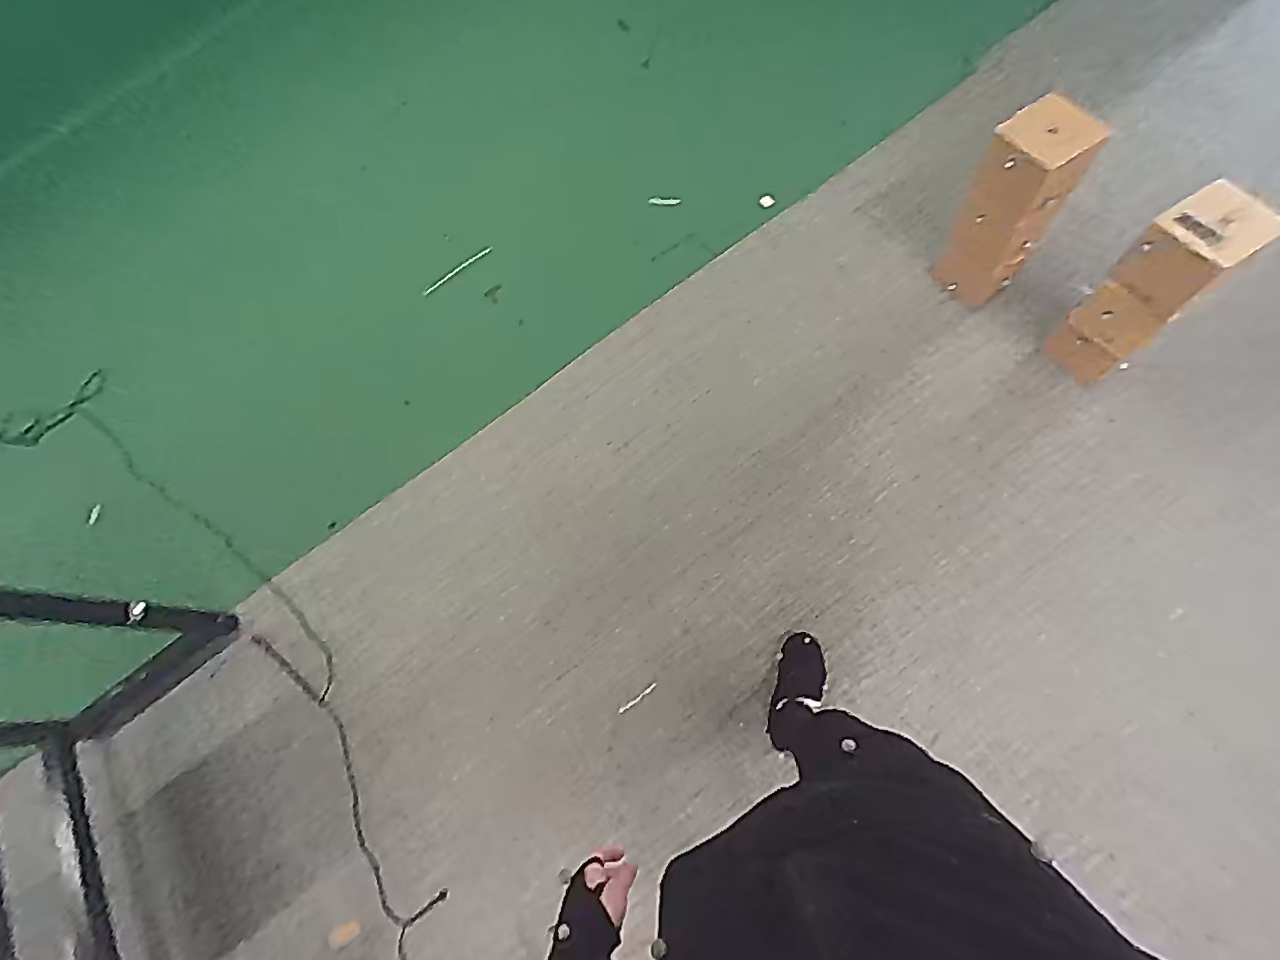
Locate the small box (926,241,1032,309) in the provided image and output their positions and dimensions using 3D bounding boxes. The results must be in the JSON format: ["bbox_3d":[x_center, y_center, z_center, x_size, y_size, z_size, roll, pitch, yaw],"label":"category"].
[{"bbox_3d":[0.995,-0.637,1.605,0.168,0.176,0.179,-34,68,-2],"label":"small box"}]

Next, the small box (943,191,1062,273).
[{"bbox_3d":[0.961,-0.699,1.456,0.168,0.176,0.179,-34,68,-2],"label":"small box"}]

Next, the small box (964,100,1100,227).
[{"bbox_3d":[0.930,-0.756,1.306,0.168,0.176,0.179,-32,68,0],"label":"small box"}]

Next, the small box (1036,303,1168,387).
[{"bbox_3d":[1.234,-0.387,1.462,0.168,0.176,0.179,-36,68,-2],"label":"small box"}]

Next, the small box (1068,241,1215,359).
[{"bbox_3d":[1.194,-0.428,1.310,0.179,0.176,0.168,-39,68,-5],"label":"small box"}]
